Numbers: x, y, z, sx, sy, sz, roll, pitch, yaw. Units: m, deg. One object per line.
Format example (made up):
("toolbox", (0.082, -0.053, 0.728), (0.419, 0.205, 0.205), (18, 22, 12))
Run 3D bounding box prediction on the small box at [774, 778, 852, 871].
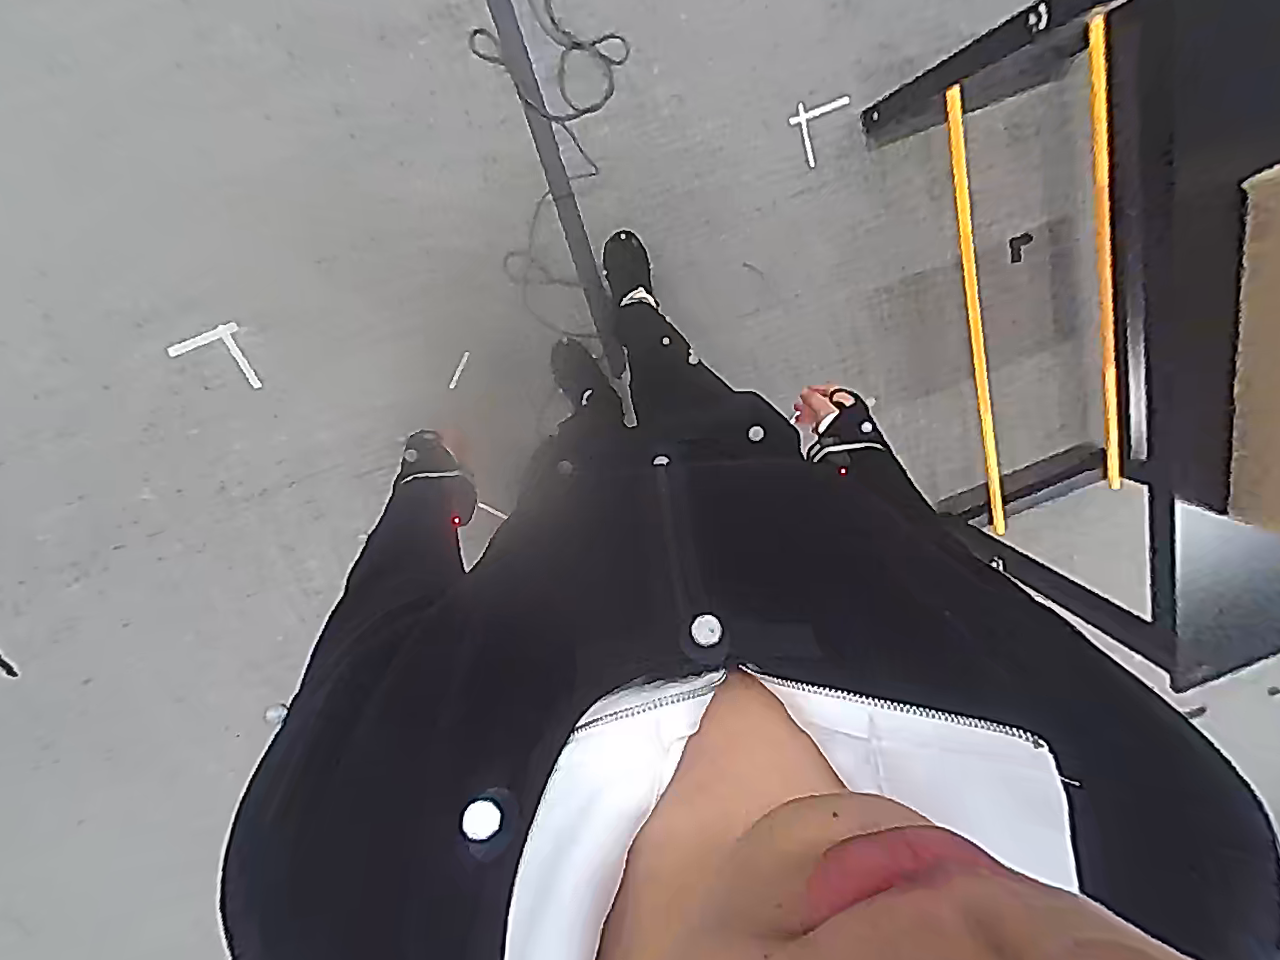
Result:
("small box", (0.576, 1.148, 1.812), (0.168, 0.176, 0.179), (-27, 109, 1))
